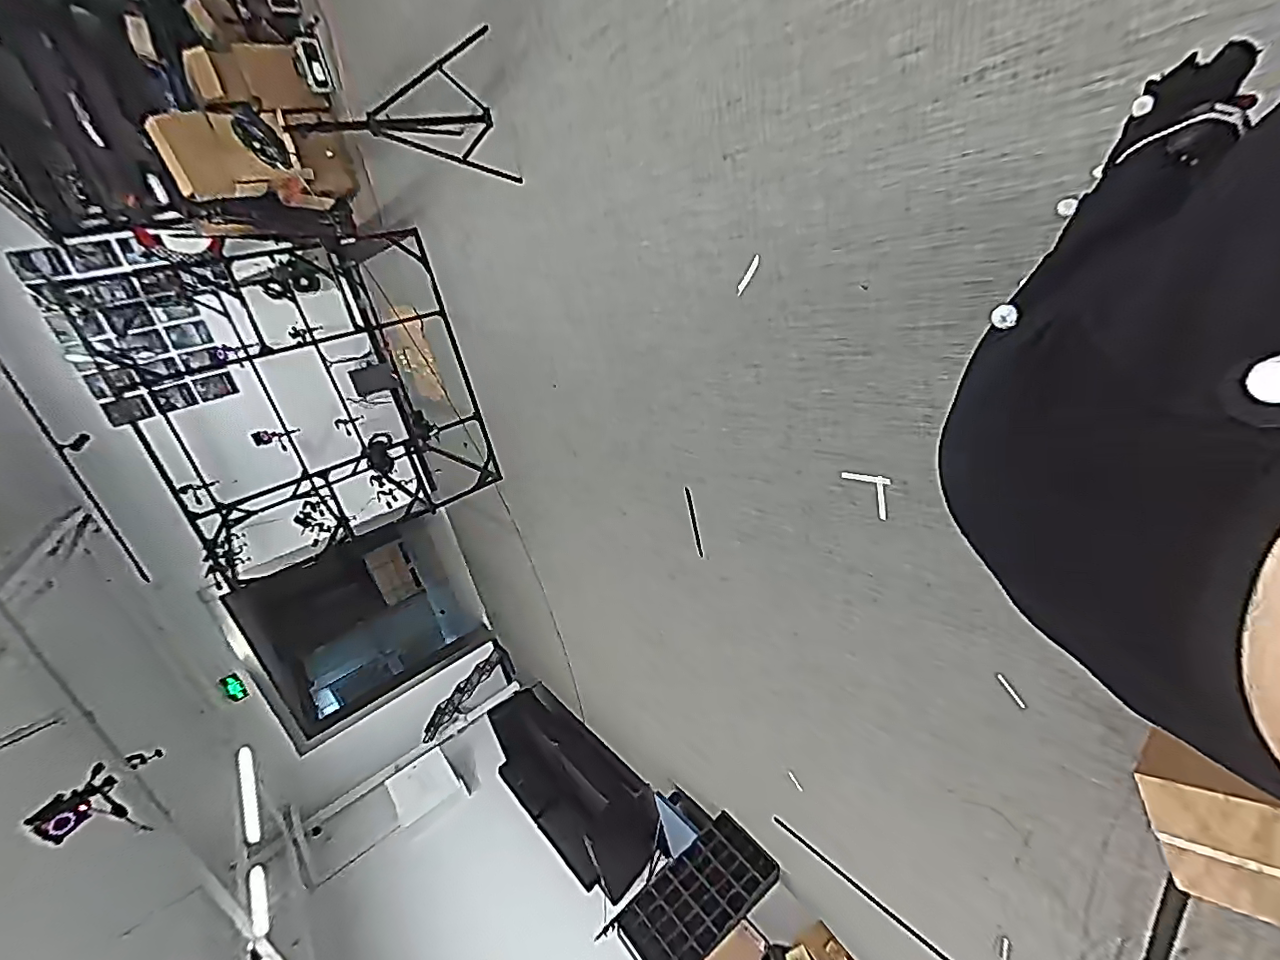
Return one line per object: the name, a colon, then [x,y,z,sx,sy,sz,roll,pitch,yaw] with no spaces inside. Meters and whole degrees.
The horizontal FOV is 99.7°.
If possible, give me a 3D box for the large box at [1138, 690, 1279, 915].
large box: [1.380,0.684,1.128,0.408,0.320,0.320,-17,99,57]
